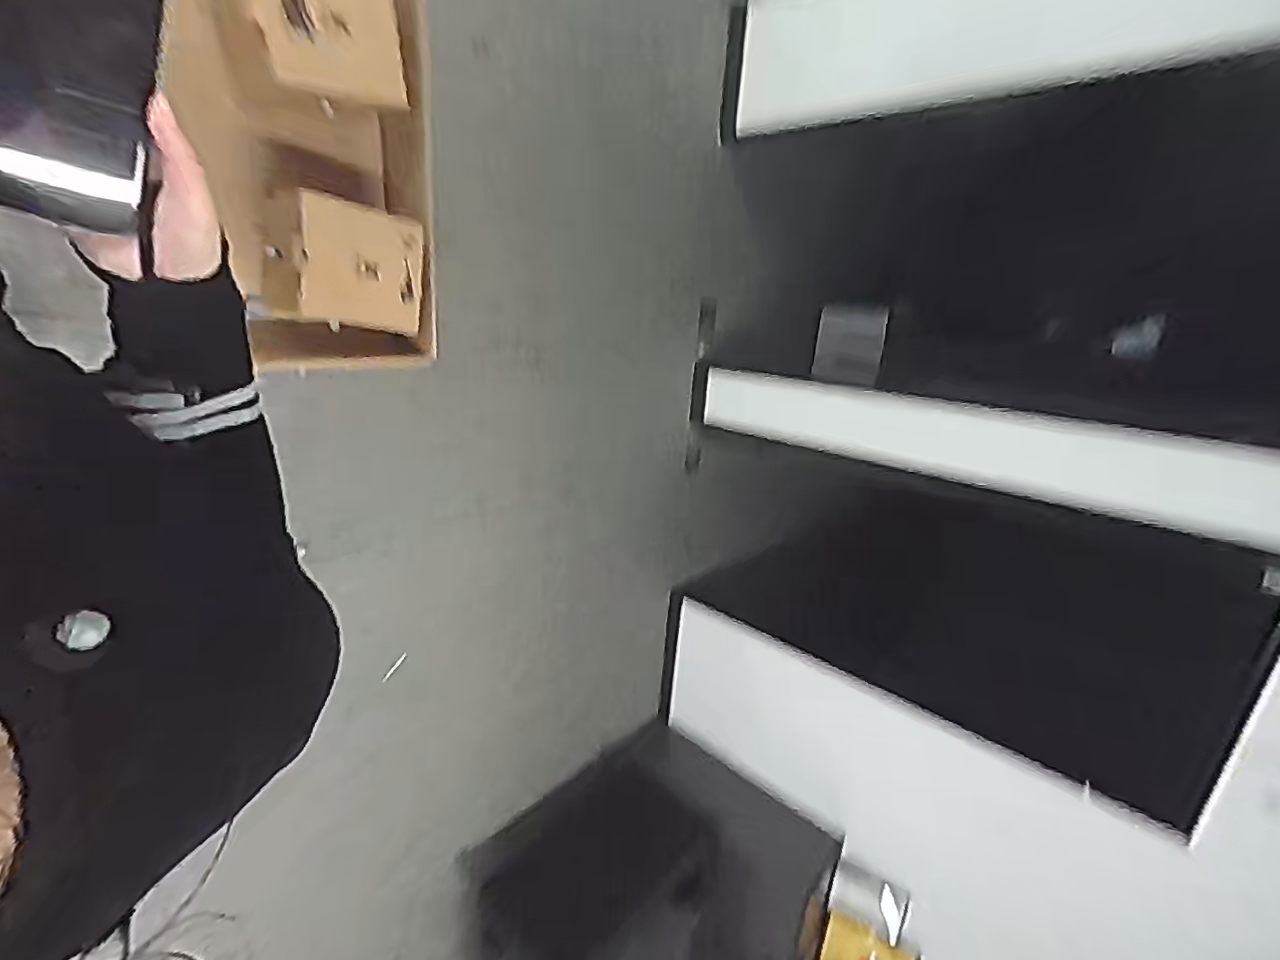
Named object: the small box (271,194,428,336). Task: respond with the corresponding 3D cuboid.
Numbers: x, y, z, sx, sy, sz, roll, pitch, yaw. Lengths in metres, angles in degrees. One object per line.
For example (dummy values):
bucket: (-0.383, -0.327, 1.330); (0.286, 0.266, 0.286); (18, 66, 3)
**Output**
small box: (-0.462, -0.329, 0.855); (0.179, 0.176, 0.168); (-4, 108, -48)
